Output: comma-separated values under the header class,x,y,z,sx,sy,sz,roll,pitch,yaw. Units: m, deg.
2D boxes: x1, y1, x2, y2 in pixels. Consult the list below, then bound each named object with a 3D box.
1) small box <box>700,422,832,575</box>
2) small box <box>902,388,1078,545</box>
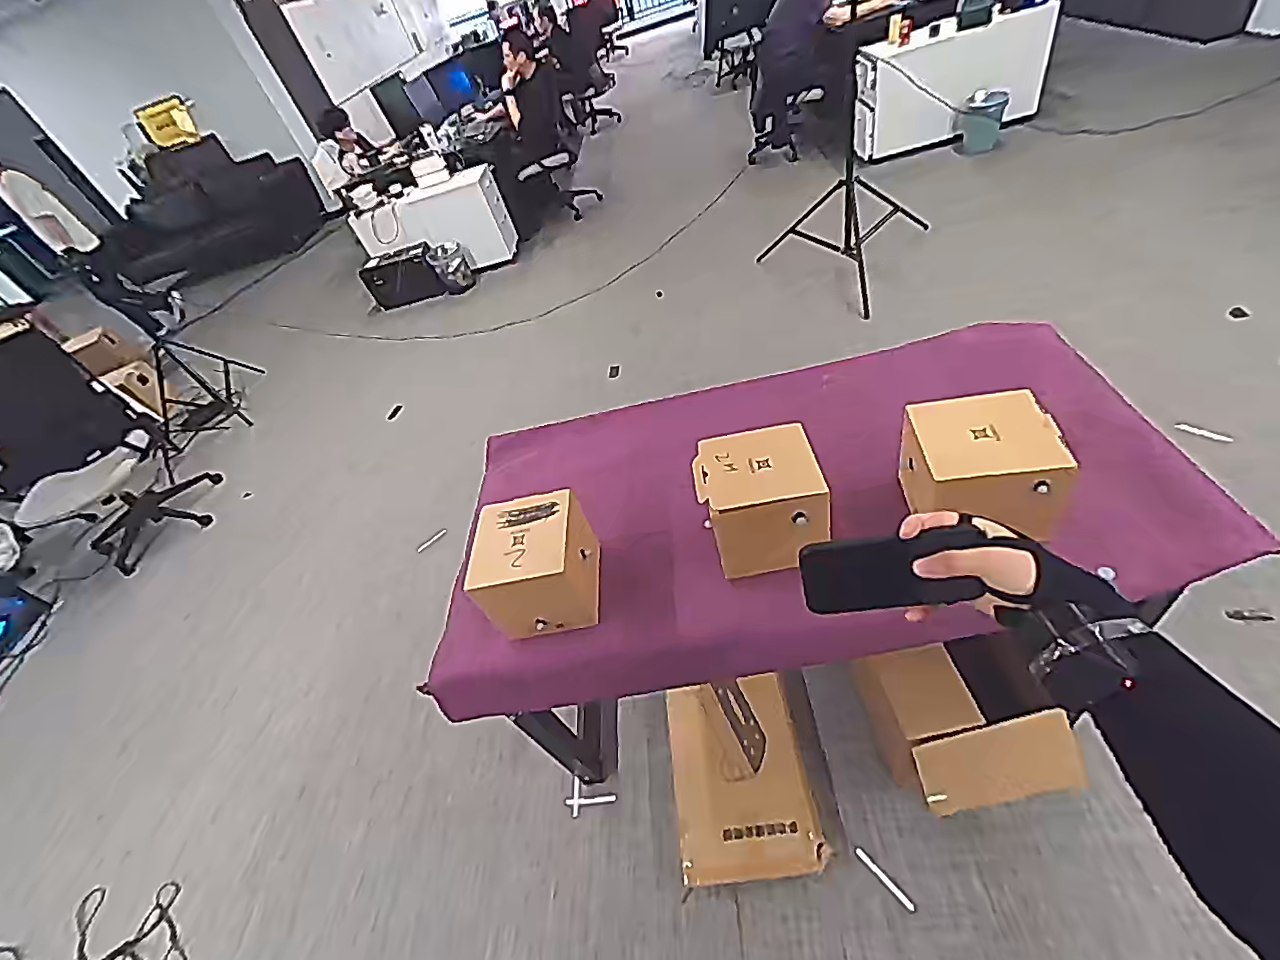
class,x,y,z,sx,sy,sz,roll,pitch,yaw
small box,0.206,0.034,0.892,0.179,0.176,0.168,-12,42,8
small box,0.515,-0.015,0.830,0.179,0.176,0.168,-7,46,13
